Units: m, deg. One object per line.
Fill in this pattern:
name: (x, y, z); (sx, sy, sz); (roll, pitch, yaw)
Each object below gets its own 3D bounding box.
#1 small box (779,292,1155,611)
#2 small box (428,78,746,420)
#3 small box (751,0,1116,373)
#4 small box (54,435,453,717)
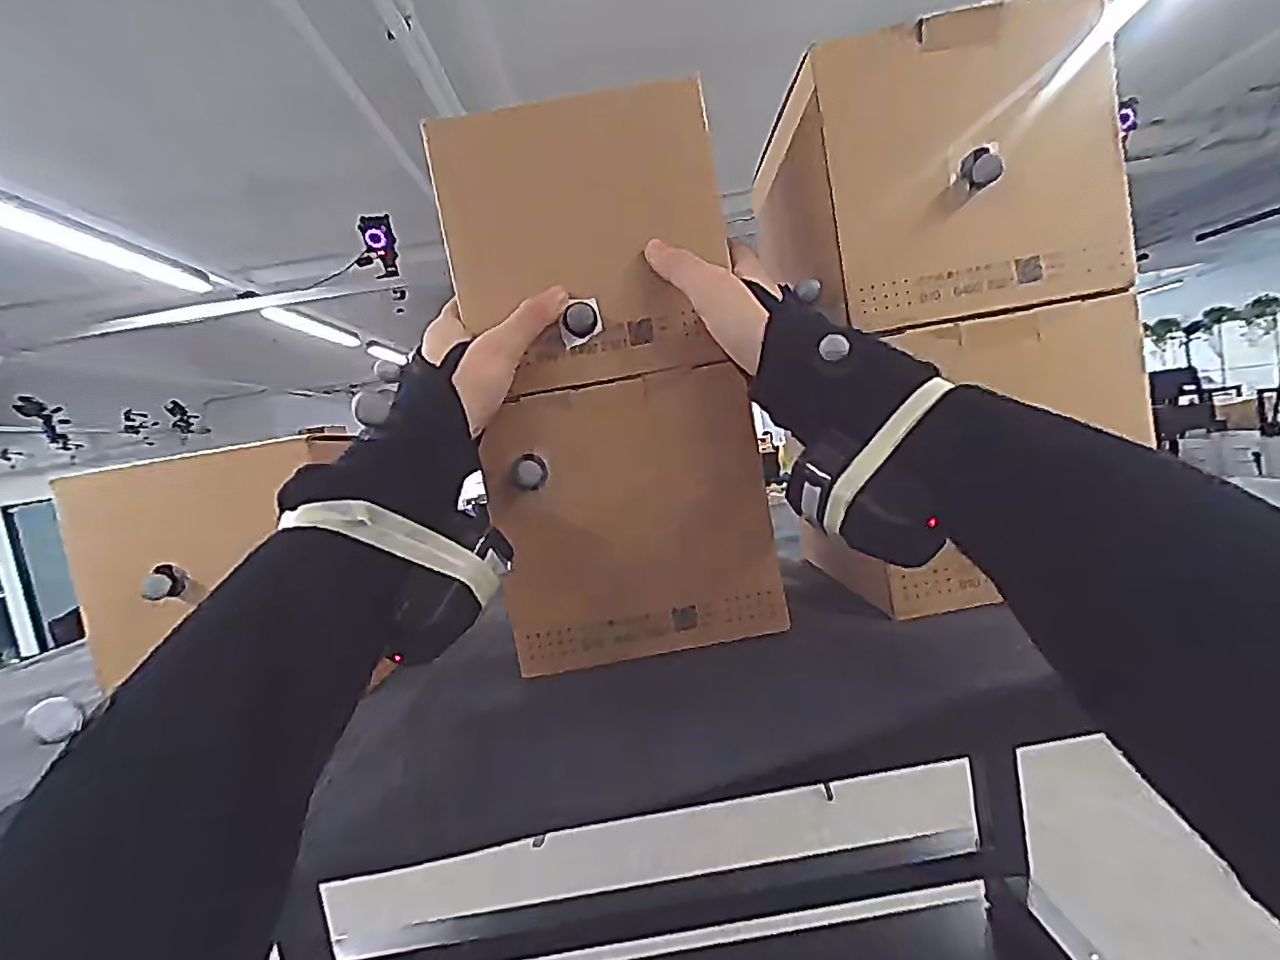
small box: (0.214, -0.017, 0.397); (0.168, 0.176, 0.179); (-11, 4, 1)
small box: (-0.031, -0.141, 0.399); (0.168, 0.176, 0.179); (-12, 4, -1)
small box: (0.188, -0.179, 0.387); (0.168, 0.176, 0.179); (-10, 4, 1)
small box: (-0.260, 0.064, 0.413); (0.168, 0.176, 0.179); (-9, 3, 2)
